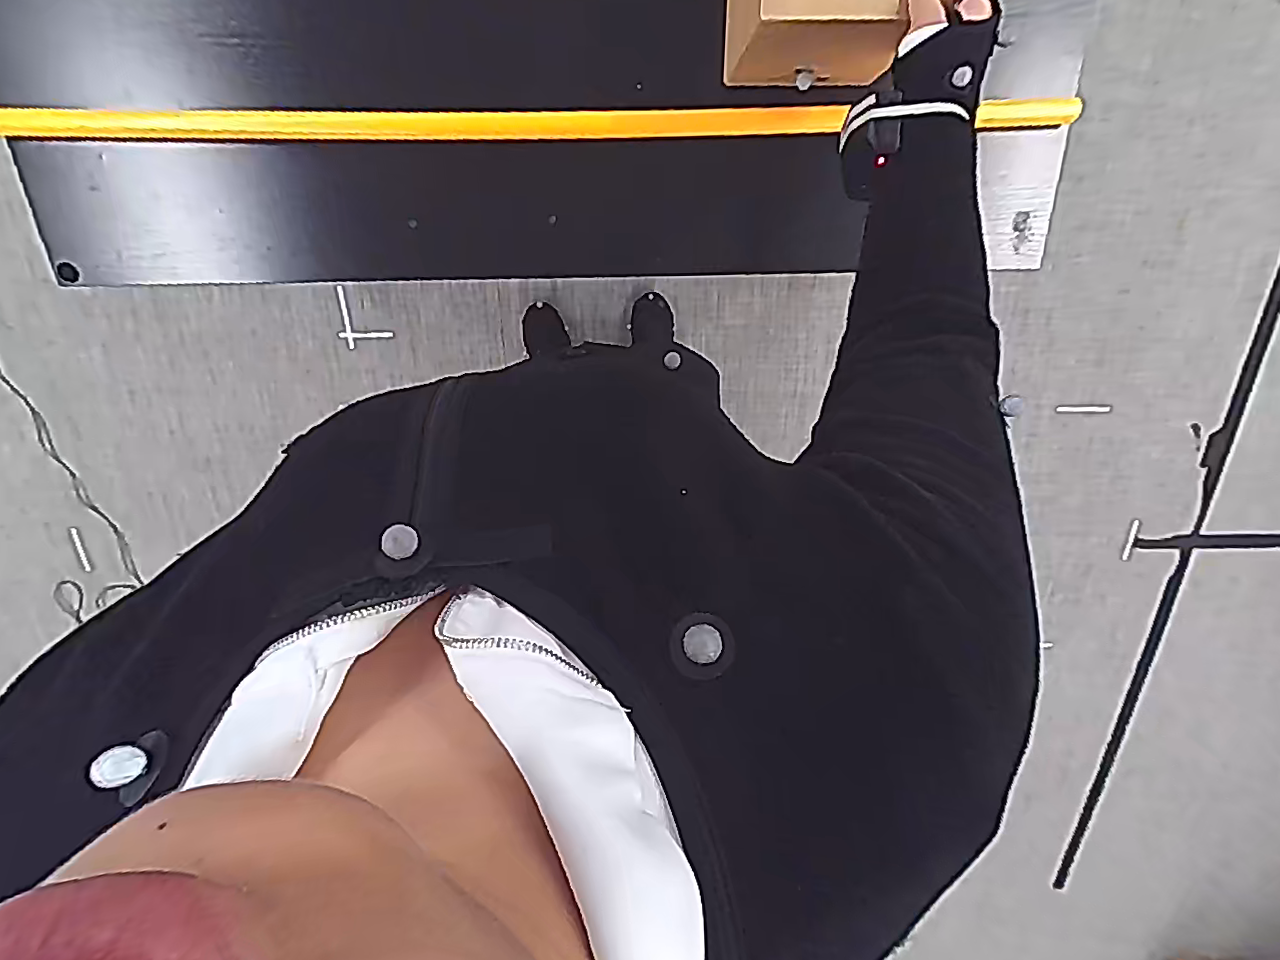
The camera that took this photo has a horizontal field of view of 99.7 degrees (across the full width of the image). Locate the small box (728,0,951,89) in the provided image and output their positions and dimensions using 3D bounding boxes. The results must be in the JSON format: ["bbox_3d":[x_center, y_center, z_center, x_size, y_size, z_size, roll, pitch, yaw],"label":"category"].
[{"bbox_3d":[0.180,-0.500,0.506,0.168,0.176,0.179,0,111,-1],"label":"small box"}]
